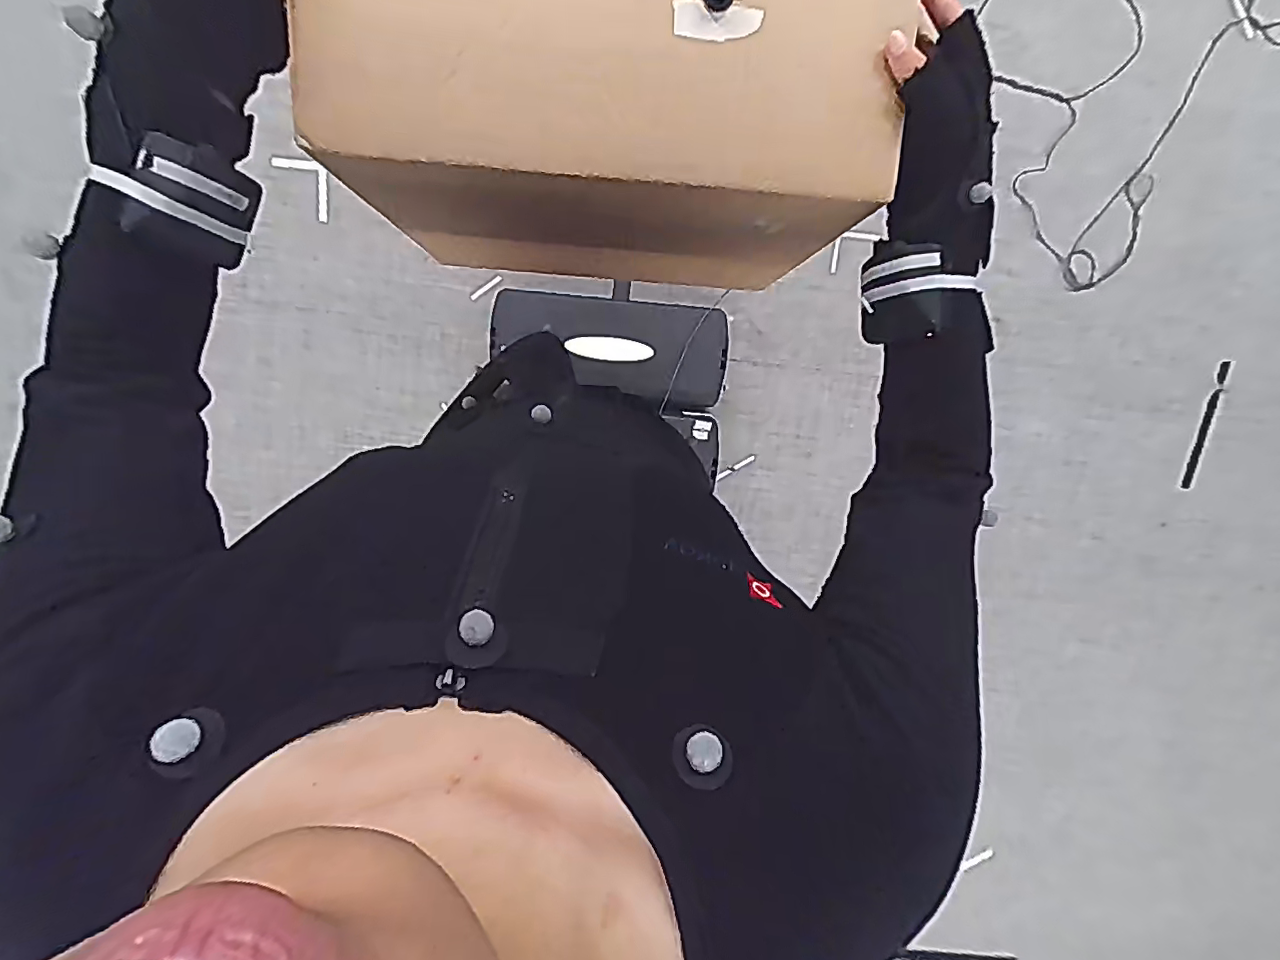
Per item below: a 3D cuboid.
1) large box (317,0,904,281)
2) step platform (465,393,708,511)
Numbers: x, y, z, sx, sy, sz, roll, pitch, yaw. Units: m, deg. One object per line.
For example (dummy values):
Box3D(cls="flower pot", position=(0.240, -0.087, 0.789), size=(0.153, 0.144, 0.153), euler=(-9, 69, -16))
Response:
Box3D(cls="large box", position=(-0.023, -0.389, 0.507), size=(0.408, 0.320, 0.320), euler=(3, 98, -5))
Box3D(cls="step platform", position=(-0.147, -0.081, 1.557), size=(0.684, 0.204, 0.286), euler=(5, 99, -1))
